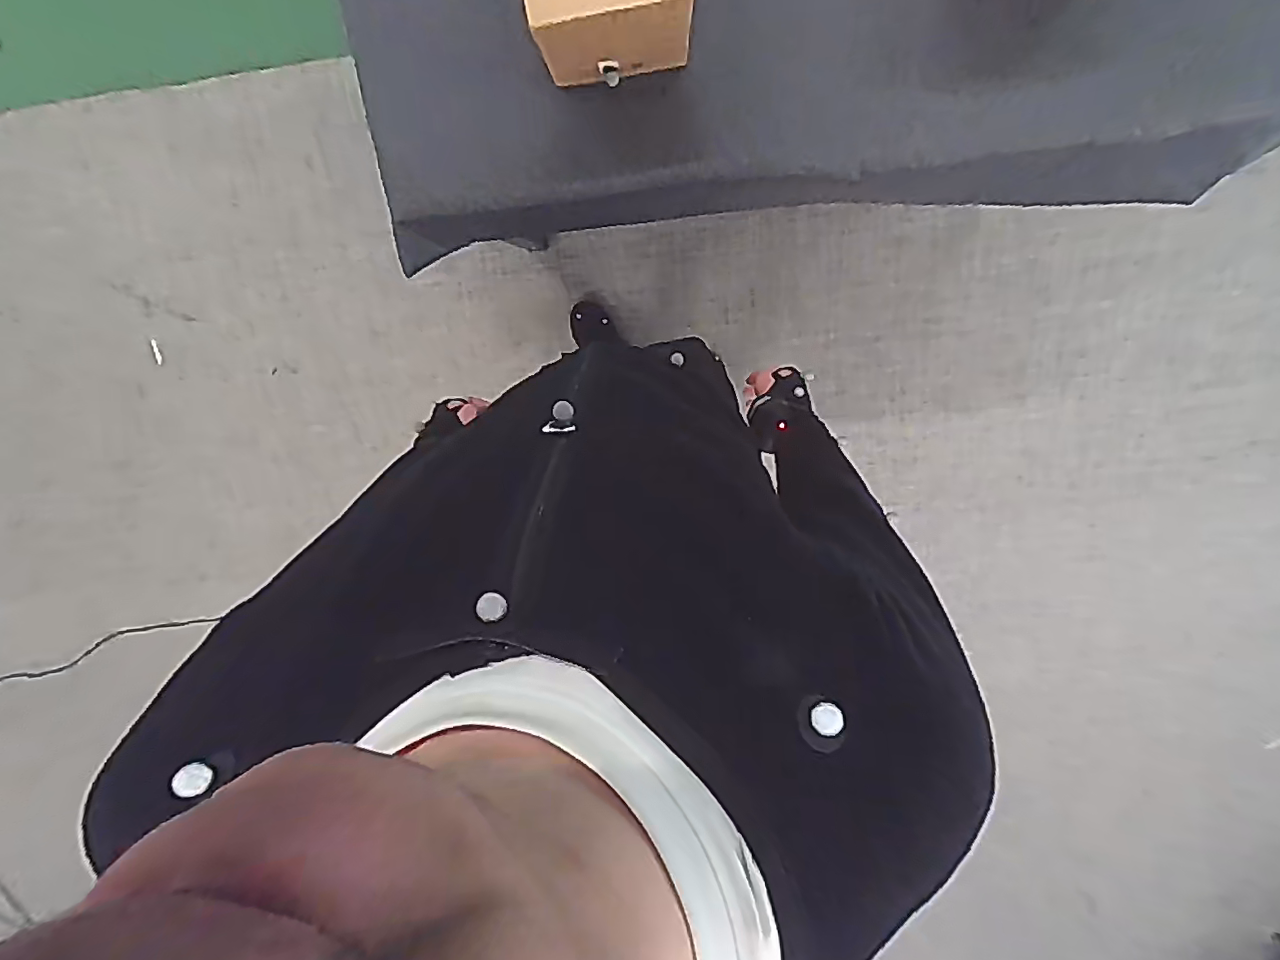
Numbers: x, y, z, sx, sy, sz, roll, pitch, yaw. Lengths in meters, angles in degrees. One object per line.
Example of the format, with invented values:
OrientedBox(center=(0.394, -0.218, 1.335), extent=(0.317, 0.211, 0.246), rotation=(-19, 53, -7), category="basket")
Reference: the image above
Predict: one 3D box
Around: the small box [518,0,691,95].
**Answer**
OrientedBox(center=(-0.038, -0.544, 0.567), extent=(0.168, 0.176, 0.179), rotation=(-5, 108, 5), category="small box")
